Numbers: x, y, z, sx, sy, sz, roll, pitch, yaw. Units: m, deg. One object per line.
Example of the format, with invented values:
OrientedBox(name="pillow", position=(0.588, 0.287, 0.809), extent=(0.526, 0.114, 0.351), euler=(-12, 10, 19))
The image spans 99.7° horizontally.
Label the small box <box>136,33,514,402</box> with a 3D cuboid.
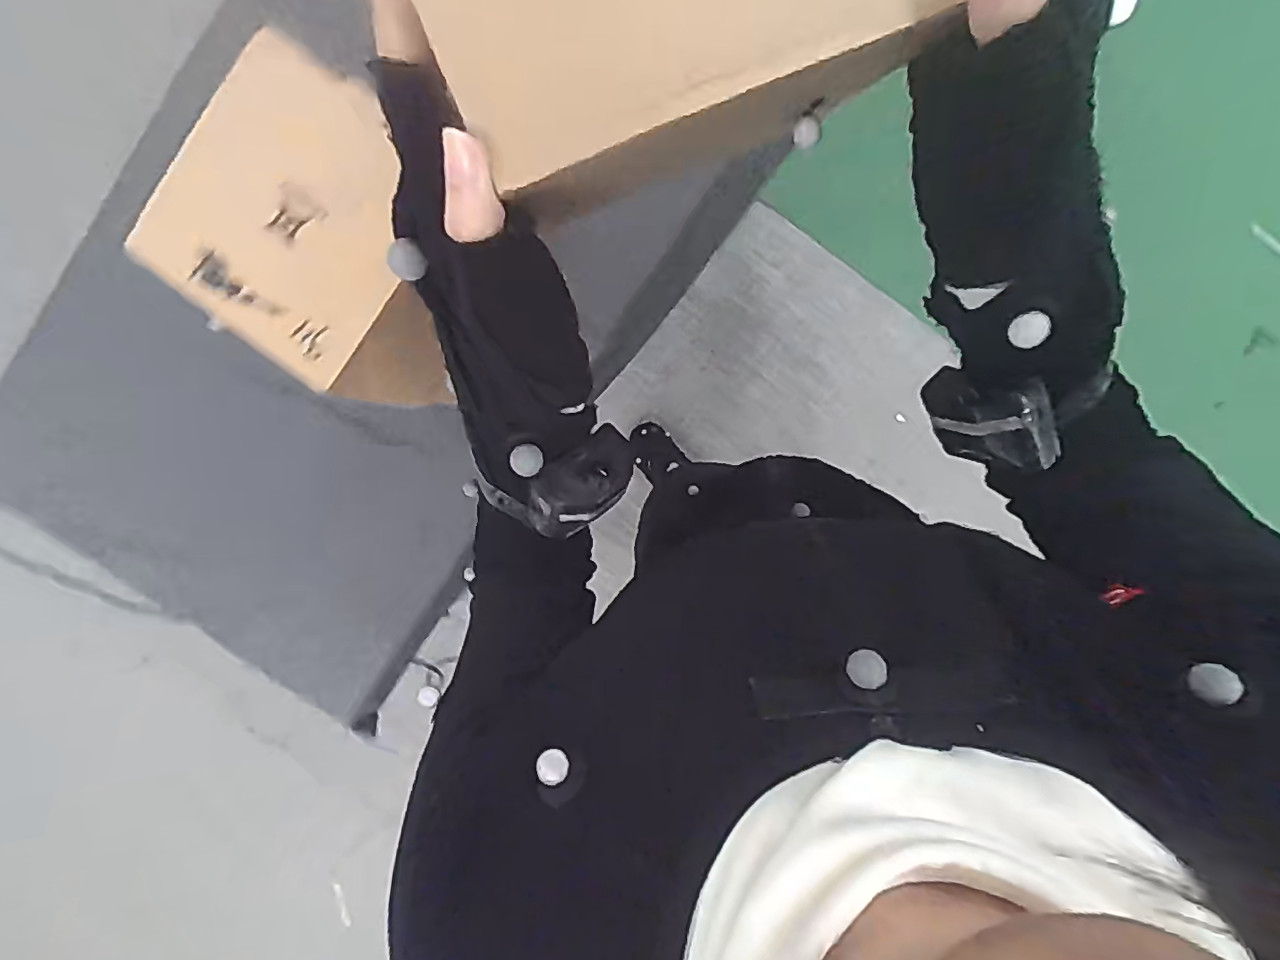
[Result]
OrientedBox(name="small box", position=(-0.222, -0.182, 0.439), extent=(0.168, 0.176, 0.179), euler=(37, 93, -2))
